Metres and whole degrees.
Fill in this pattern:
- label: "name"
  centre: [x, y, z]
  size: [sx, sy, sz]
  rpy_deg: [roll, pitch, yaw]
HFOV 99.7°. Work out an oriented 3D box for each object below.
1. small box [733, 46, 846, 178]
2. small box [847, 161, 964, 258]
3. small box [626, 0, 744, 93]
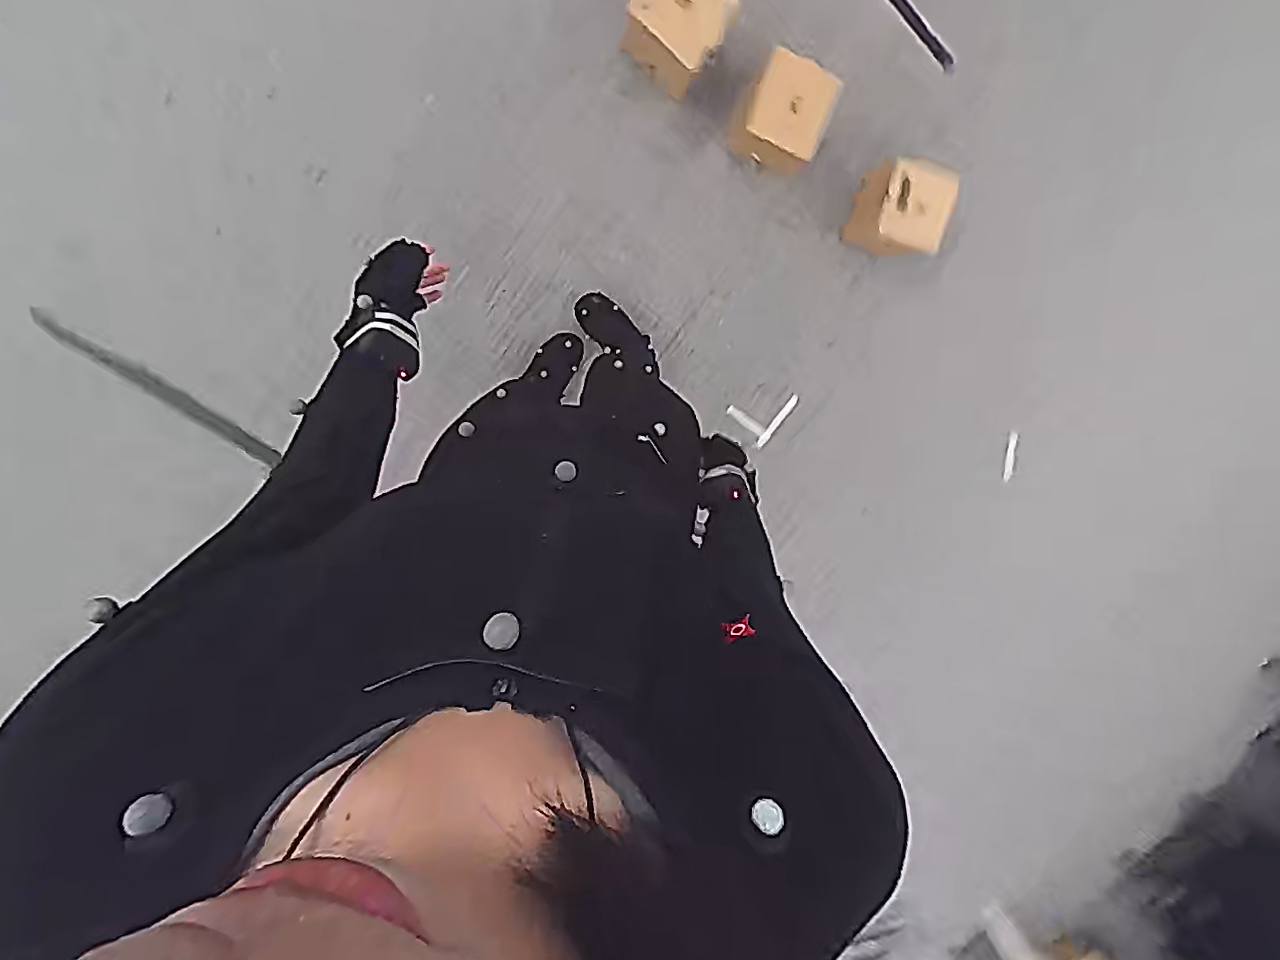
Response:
- label: "small box"
  centre: [0.336, -0.840, 1.254]
  size: [0.168, 0.176, 0.179]
  rpy_deg: [19, 104, -12]
- label: "small box"
  centre: [0.651, -0.664, 1.351]
  size: [0.179, 0.176, 0.168]
  rpy_deg: [12, 105, -12]
- label: "small box"
  centre: [0.090, -0.988, 1.174]
  size: [0.179, 0.176, 0.168]
  rpy_deg: [36, 99, -17]
